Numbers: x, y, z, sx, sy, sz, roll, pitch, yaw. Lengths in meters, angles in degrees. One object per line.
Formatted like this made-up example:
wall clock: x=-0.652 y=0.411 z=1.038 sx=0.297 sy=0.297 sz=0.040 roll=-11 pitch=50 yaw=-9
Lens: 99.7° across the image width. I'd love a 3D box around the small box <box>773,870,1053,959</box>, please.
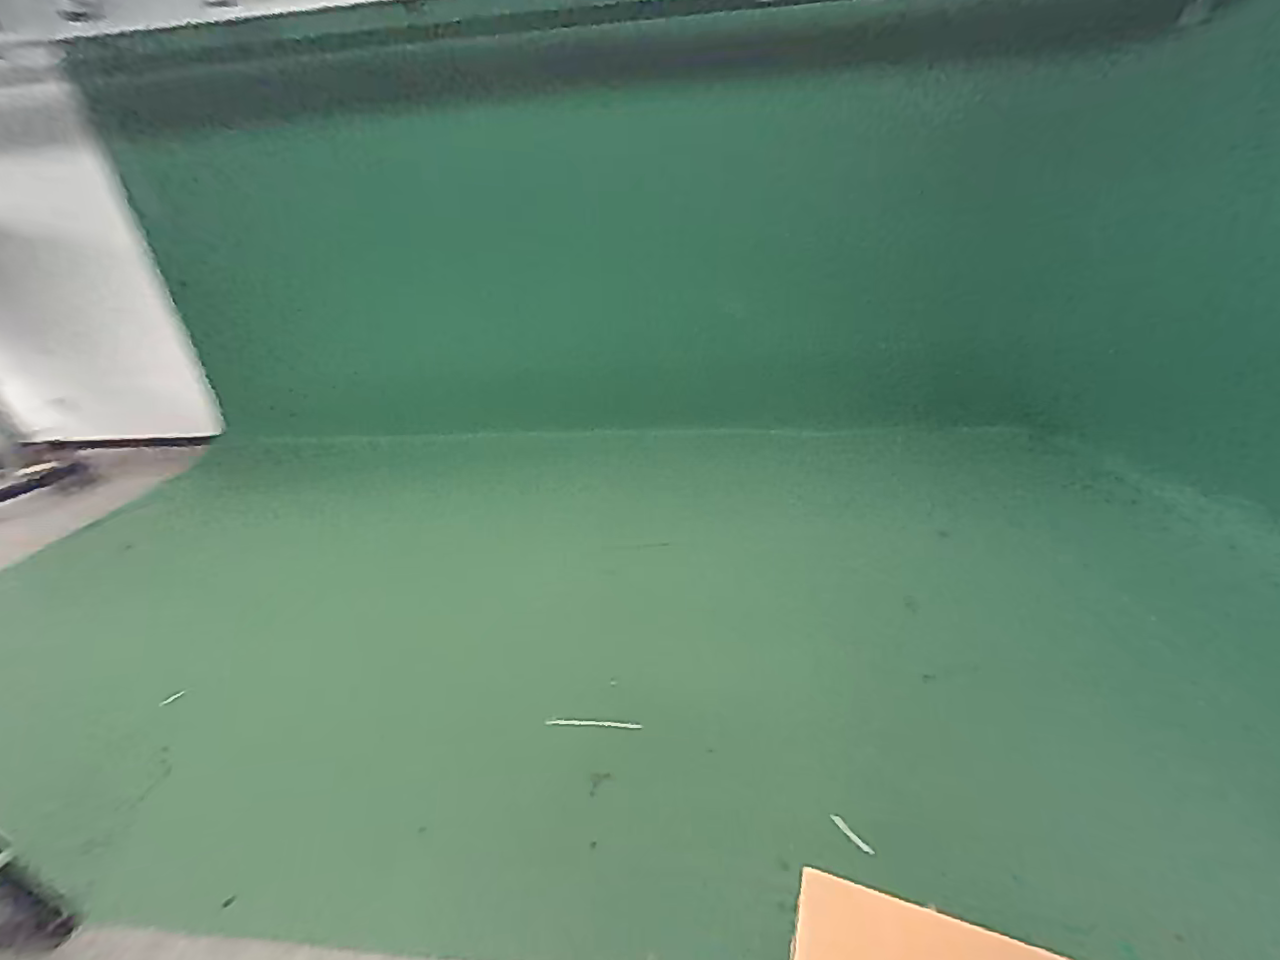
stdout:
small box: x=0.173 y=0.415 z=0.366 sx=0.179 sy=0.176 sz=0.168 roll=7 pitch=37 yaw=18
